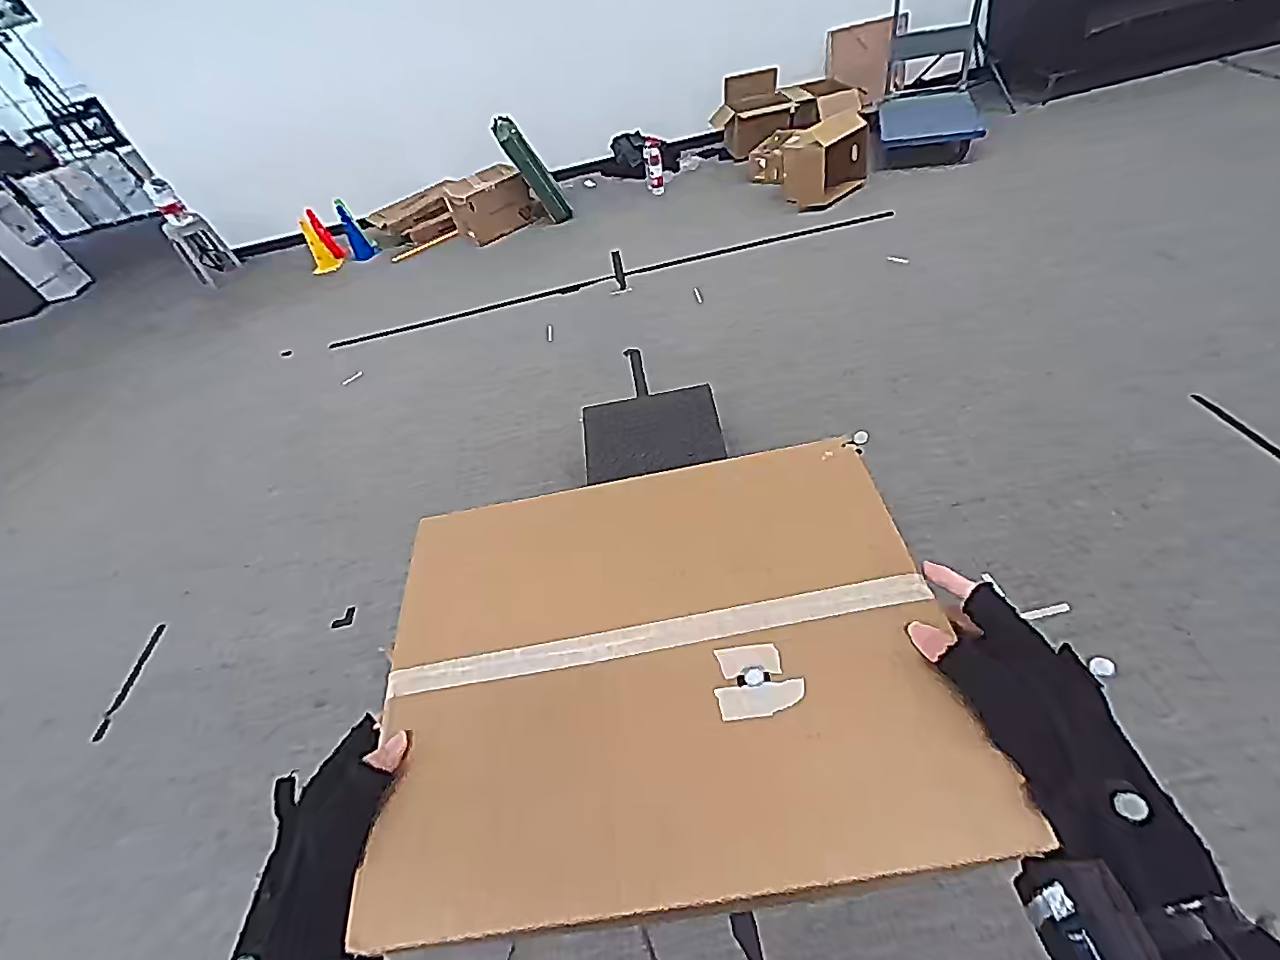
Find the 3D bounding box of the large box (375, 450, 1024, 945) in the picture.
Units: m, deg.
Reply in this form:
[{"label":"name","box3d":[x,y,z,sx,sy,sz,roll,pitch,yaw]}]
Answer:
[{"label":"large box","box3d":[0.035,0.219,0.528,0.408,0.320,0.320,-11,50,3]}]
